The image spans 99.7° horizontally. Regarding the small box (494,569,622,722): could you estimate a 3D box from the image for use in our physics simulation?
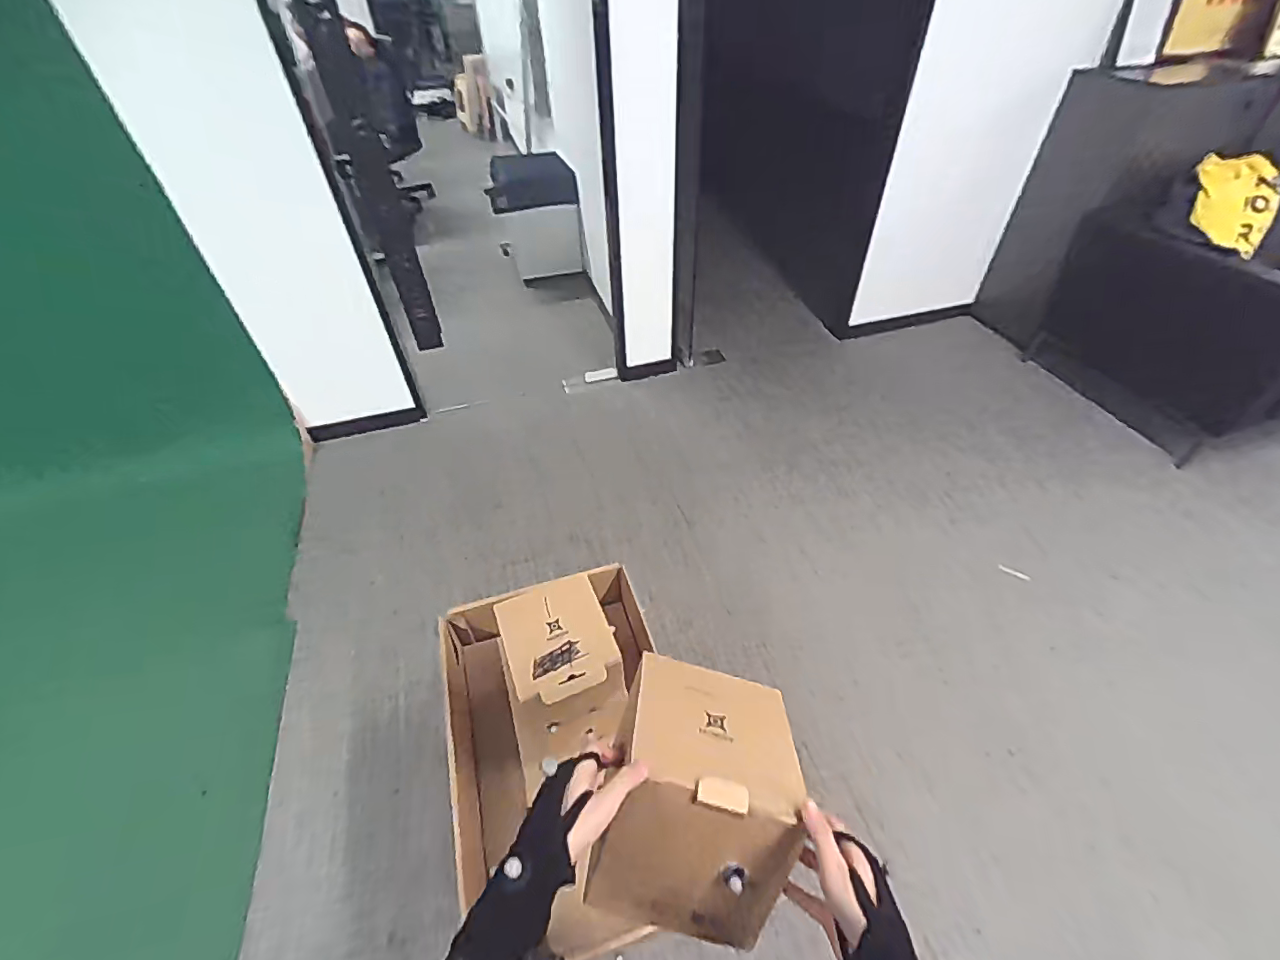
[{"bbox_3d":[-0.134,0.289,0.923,0.168,0.176,0.179,-17,49,-15],"label":"small box"}]
